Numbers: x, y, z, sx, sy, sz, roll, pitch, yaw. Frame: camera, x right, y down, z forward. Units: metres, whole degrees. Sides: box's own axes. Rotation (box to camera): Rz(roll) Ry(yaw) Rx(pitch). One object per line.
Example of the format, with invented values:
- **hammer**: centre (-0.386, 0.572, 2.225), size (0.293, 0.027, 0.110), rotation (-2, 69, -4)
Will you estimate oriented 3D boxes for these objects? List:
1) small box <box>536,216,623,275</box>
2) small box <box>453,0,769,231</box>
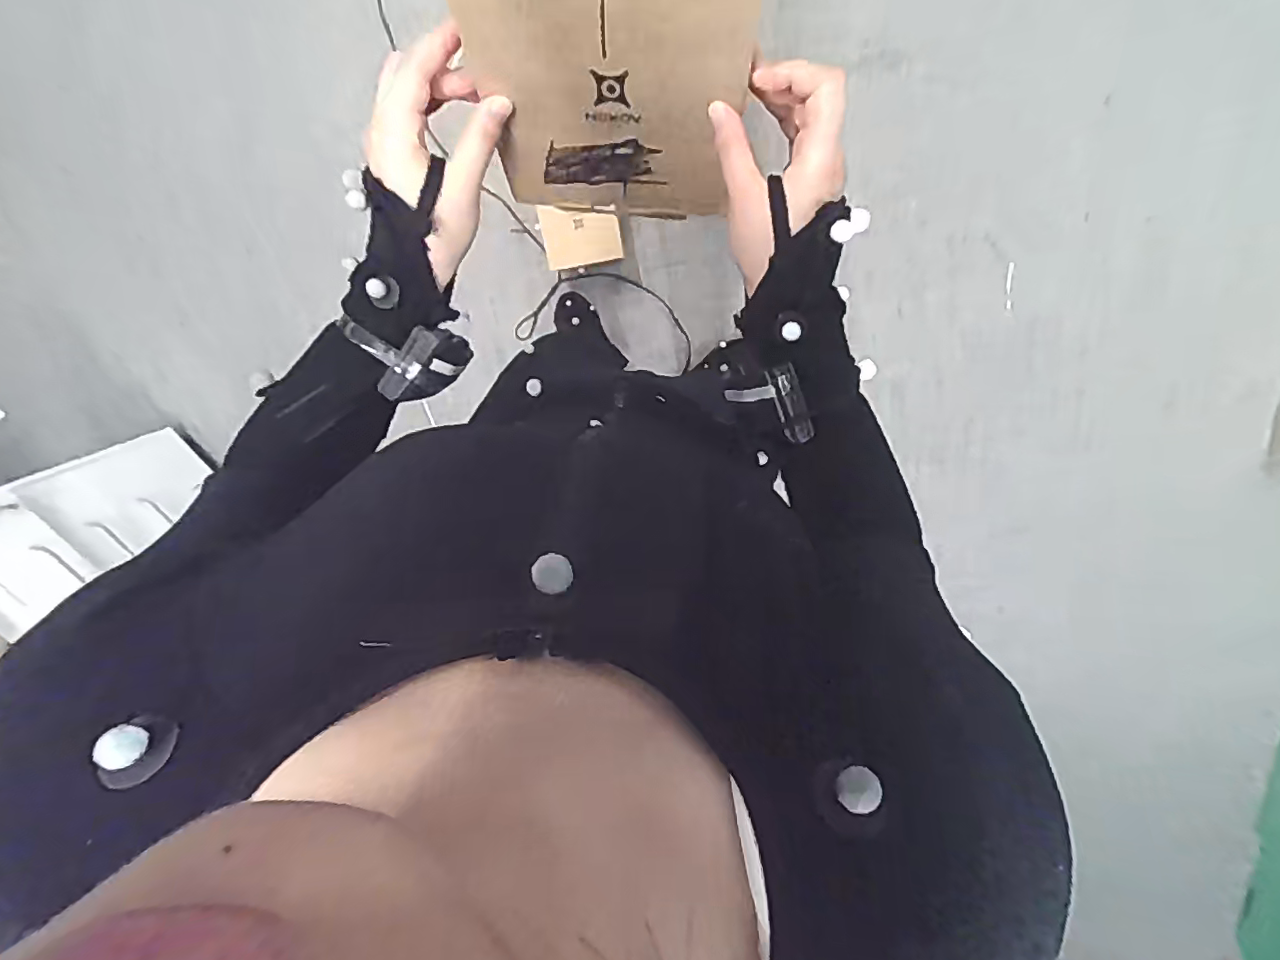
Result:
- **small box**: centre (-0.133, -0.568, 1.215), size (0.168, 0.176, 0.179), rotation (-10, 111, 4)
- **small box**: centre (-0.006, -0.299, 0.356), size (0.168, 0.179, 0.176), rotation (5, 71, 4)
